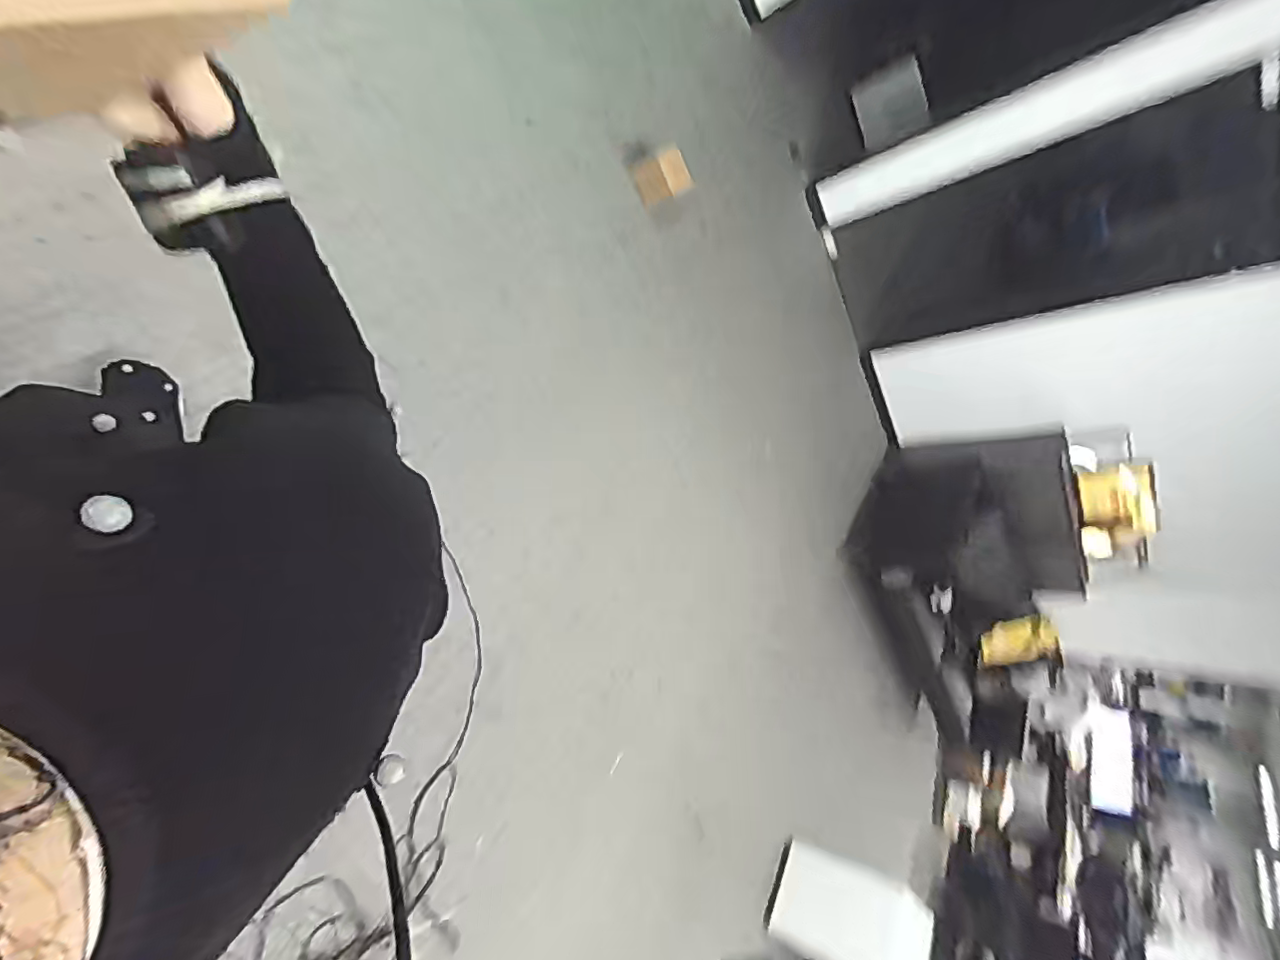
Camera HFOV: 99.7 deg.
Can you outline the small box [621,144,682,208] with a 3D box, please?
[{"bbox_3d":[0.043,-1.284,2.292,0.179,0.176,0.168,-49,122,-36],"label":"small box"}]
